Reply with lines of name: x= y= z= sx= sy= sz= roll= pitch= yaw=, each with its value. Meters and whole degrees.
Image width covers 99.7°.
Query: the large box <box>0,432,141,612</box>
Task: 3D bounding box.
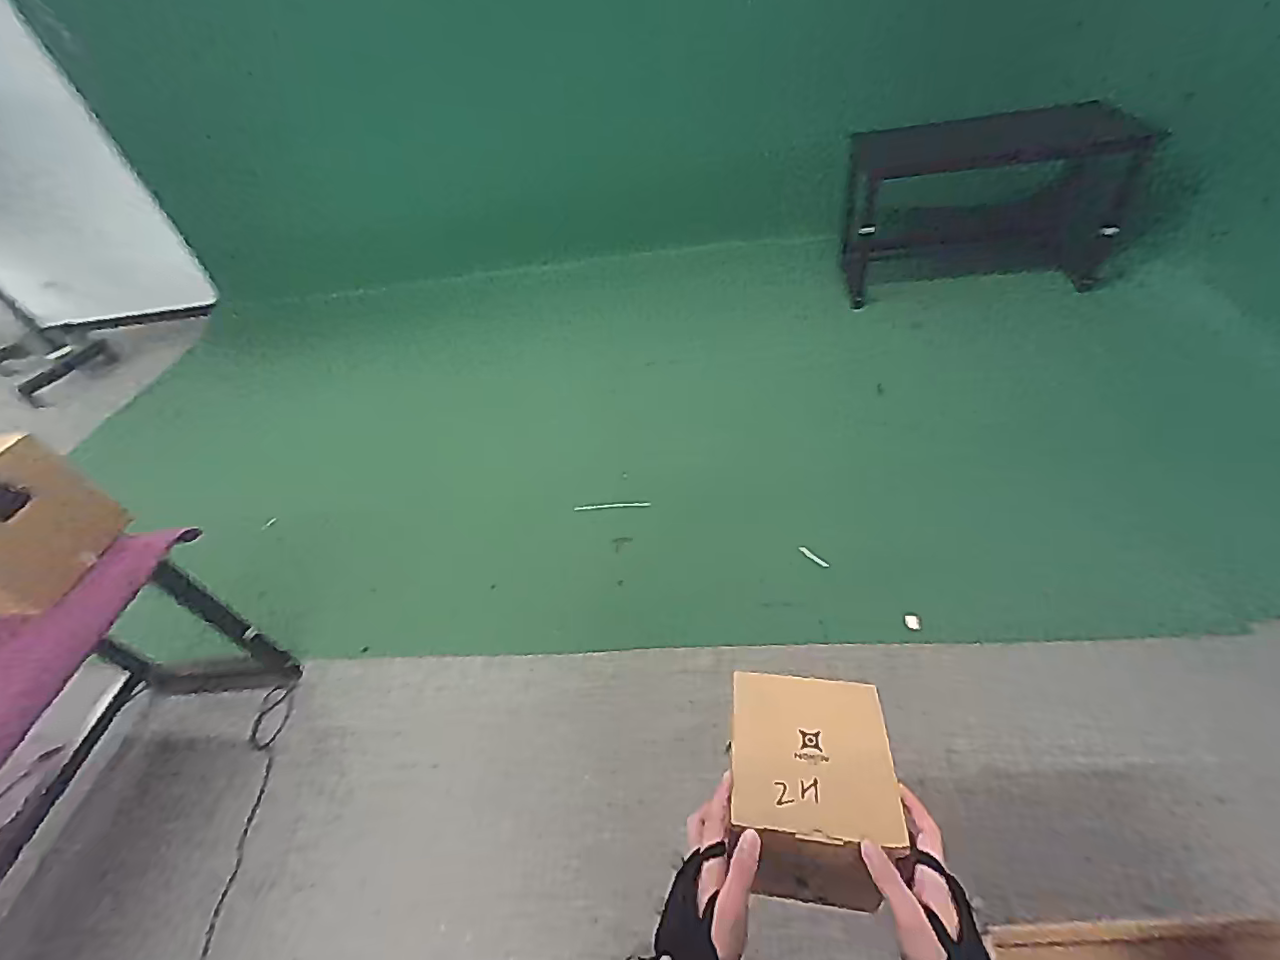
large box: x=-1.589 y=0.110 z=1.303 sx=0.408 sy=0.320 sz=0.320 roll=-3 pitch=46 yaw=8

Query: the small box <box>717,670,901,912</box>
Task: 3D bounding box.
small box: x=0.176 y=0.348 z=0.617 sx=0.168 sy=0.176 sz=0.179 roll=2 pitch=36 yaw=9
